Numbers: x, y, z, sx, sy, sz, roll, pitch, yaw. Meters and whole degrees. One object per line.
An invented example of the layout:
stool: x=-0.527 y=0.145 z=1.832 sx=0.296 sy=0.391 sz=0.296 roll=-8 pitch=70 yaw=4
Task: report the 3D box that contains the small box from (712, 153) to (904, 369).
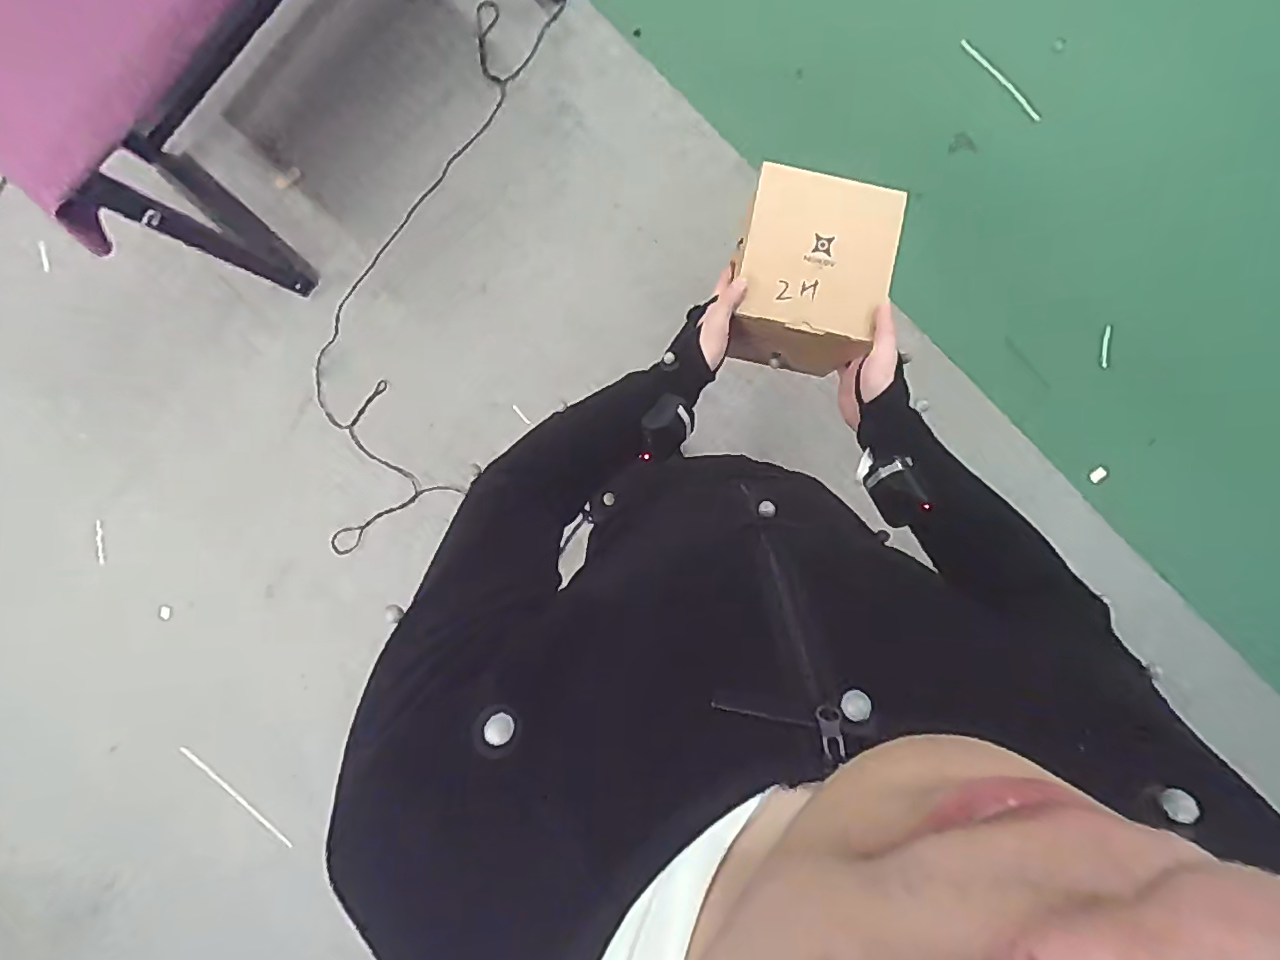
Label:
small box: x=0.190 y=-0.252 z=0.662 sx=0.168 sy=0.176 sz=0.179 roll=12 pitch=89 yaw=0
